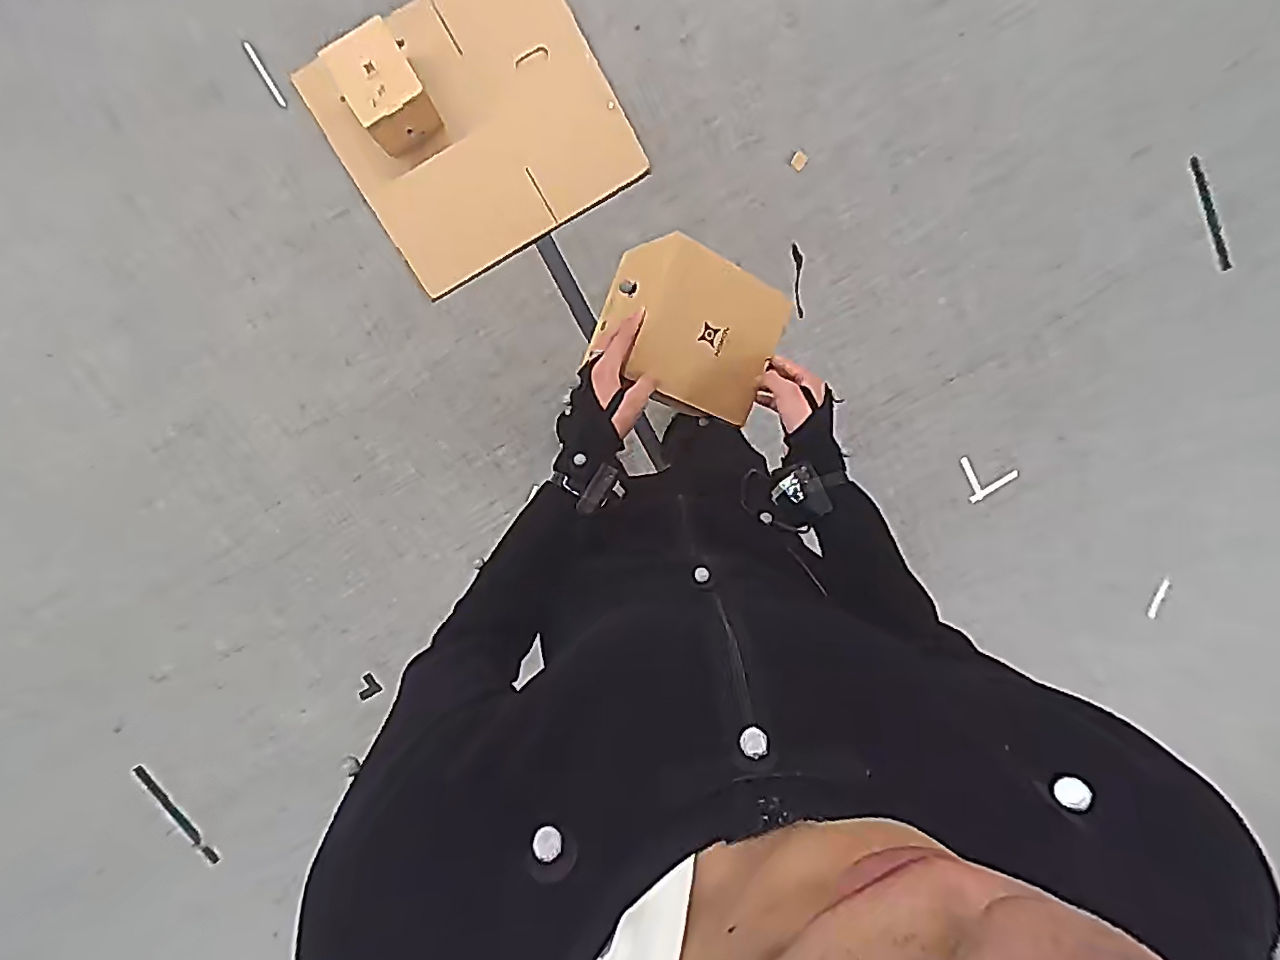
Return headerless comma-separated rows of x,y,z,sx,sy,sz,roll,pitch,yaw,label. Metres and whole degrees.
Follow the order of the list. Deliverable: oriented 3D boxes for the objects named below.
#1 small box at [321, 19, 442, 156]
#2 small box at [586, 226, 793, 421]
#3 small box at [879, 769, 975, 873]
-0.605,-0.922,1.289,0.168,0.176,0.179,-31,102,2,small box
0.051,-0.188,0.686,0.179,0.176,0.168,19,96,-26,small box
0.874,1.040,1.659,0.168,0.176,0.179,-28,101,-1,small box
